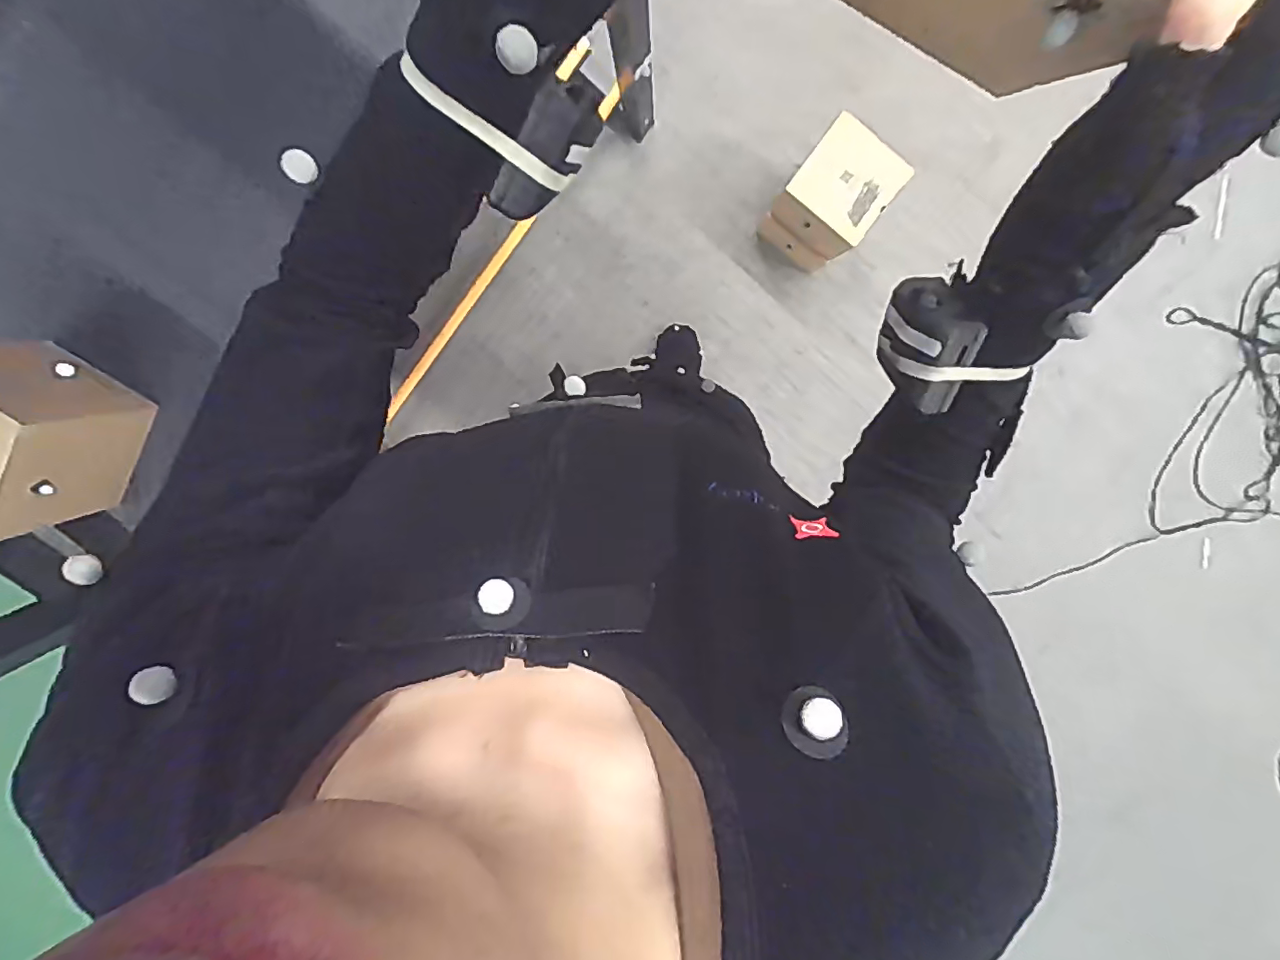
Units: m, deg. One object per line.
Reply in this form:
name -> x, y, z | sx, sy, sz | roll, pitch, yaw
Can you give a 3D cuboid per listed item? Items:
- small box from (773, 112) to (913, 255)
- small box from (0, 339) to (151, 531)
small box -> 0.390, -0.570, 1.072 | 0.179, 0.176, 0.168 | 37, 103, -5
small box -> -0.781, -0.059, 0.678 | 0.168, 0.176, 0.179 | 33, 103, -6
